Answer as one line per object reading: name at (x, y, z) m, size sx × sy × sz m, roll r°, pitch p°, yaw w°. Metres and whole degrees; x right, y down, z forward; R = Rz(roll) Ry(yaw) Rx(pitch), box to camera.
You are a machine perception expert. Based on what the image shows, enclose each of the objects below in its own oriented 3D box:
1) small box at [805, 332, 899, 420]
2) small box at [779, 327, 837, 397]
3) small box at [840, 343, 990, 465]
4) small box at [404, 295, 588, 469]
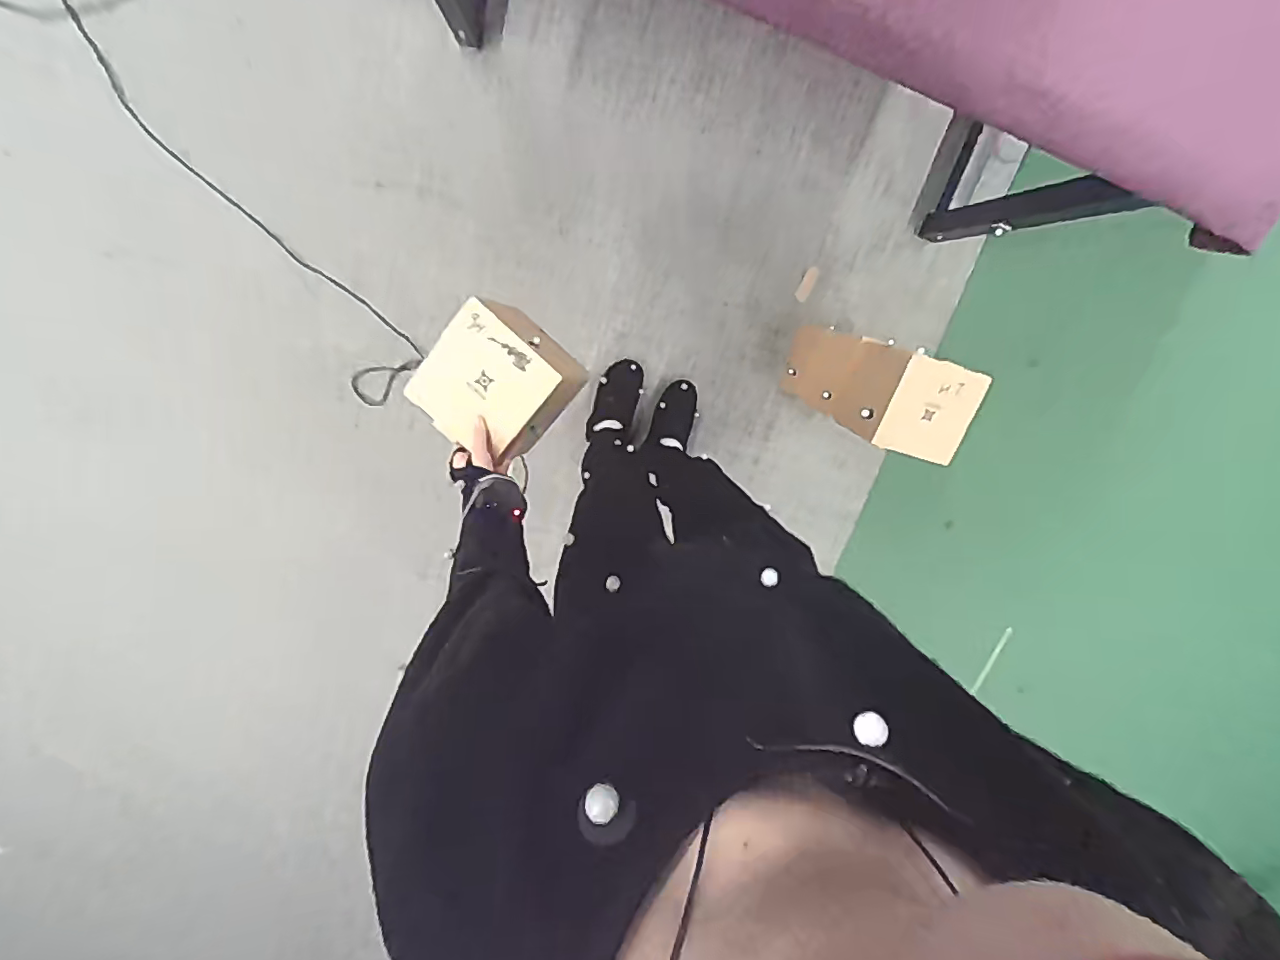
small box at (0.489, -0.218, 1.192) m, size 0.168 × 0.176 × 0.179 m, roll 14°, pitch 108°, yaw -10°
small box at (0.472, -0.273, 1.343) m, size 0.179 × 0.176 × 0.168 m, roll 17°, pitch 107°, yaw -10°
small box at (0.513, -0.152, 1.042) m, size 0.168 × 0.176 × 0.179 m, roll 15°, pitch 108°, yaw -10°
small box at (-0.202, -0.145, 0.809) m, size 0.168 × 0.176 × 0.179 m, roll 43°, pitch 105°, yaw -2°
